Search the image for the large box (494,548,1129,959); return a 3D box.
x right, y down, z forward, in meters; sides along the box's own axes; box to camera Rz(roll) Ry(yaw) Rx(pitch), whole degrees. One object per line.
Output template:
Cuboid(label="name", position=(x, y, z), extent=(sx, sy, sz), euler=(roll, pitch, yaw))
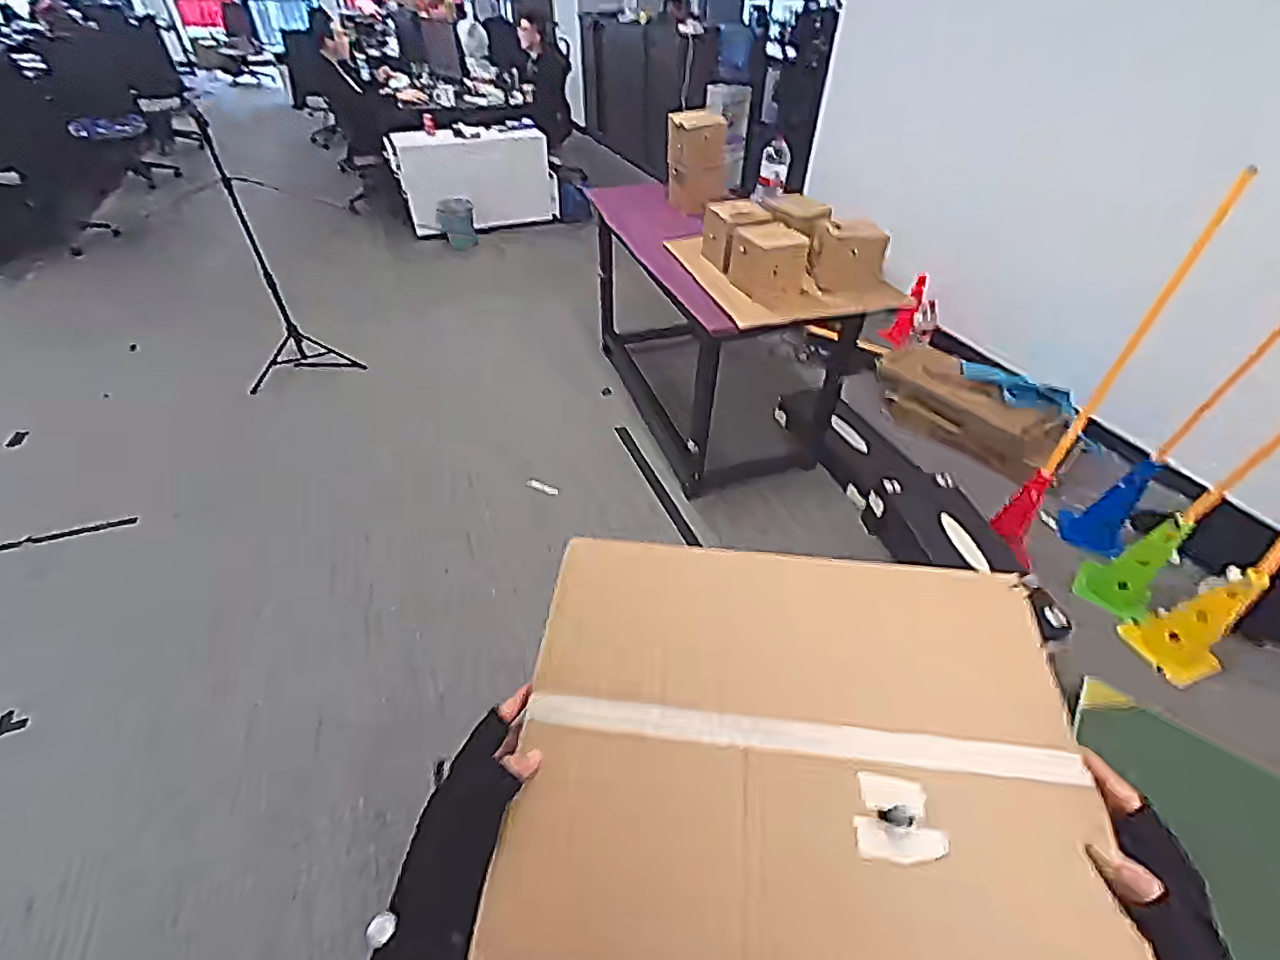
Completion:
Cuboid(label="large box", position=(0.121, 0.290, 0.536), extent=(0.408, 0.320, 0.320), euler=(4, 52, 6))
